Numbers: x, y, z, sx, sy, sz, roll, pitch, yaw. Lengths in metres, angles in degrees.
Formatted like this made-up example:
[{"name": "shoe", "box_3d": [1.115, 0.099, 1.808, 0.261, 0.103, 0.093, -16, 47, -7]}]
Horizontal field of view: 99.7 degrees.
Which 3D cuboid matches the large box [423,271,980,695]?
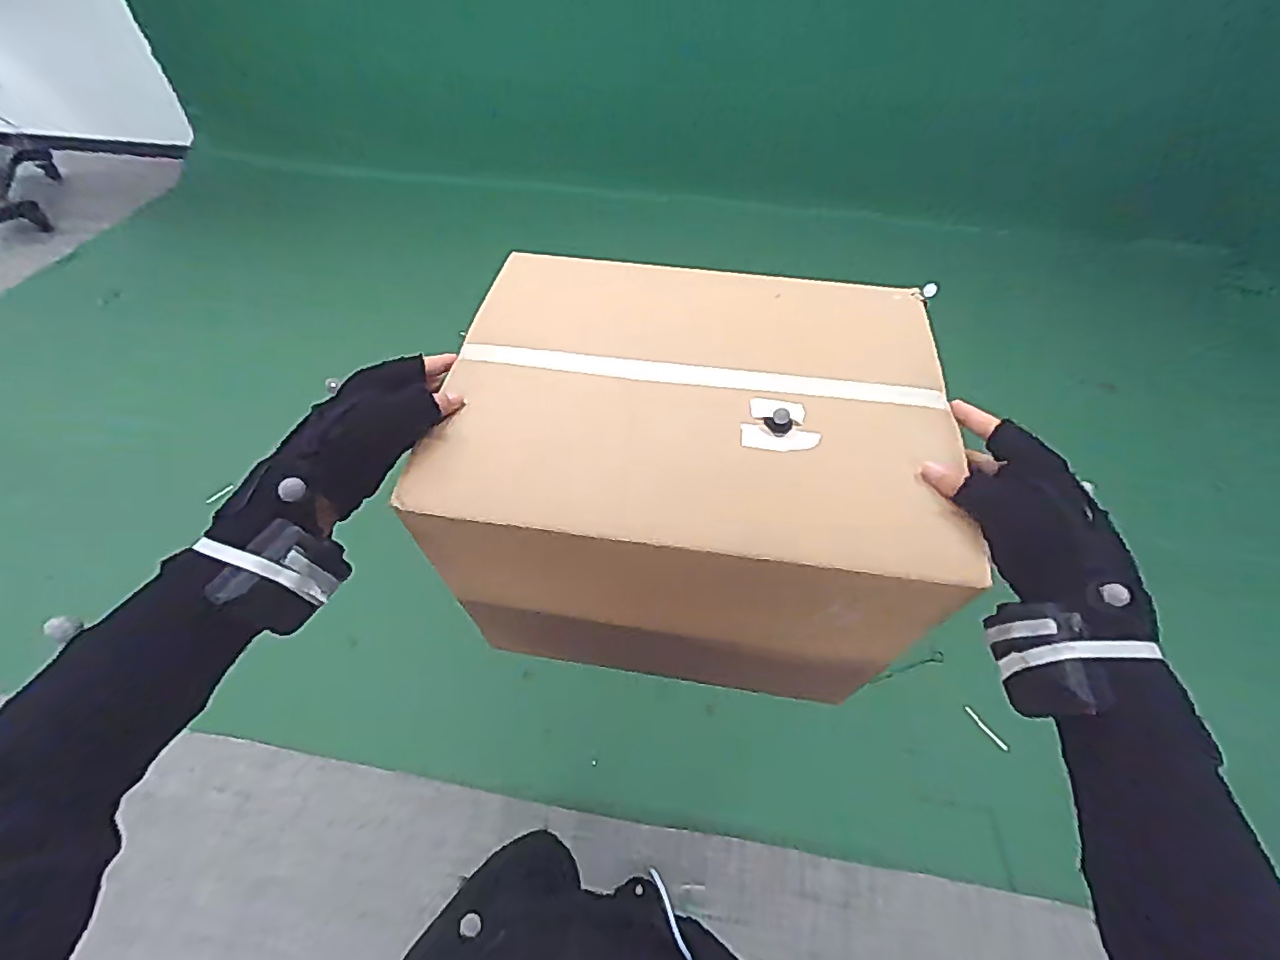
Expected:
[{"name": "large box", "box_3d": [0.052, 0.012, 0.585, 0.408, 0.320, 0.320, 7, 55, 4]}]
